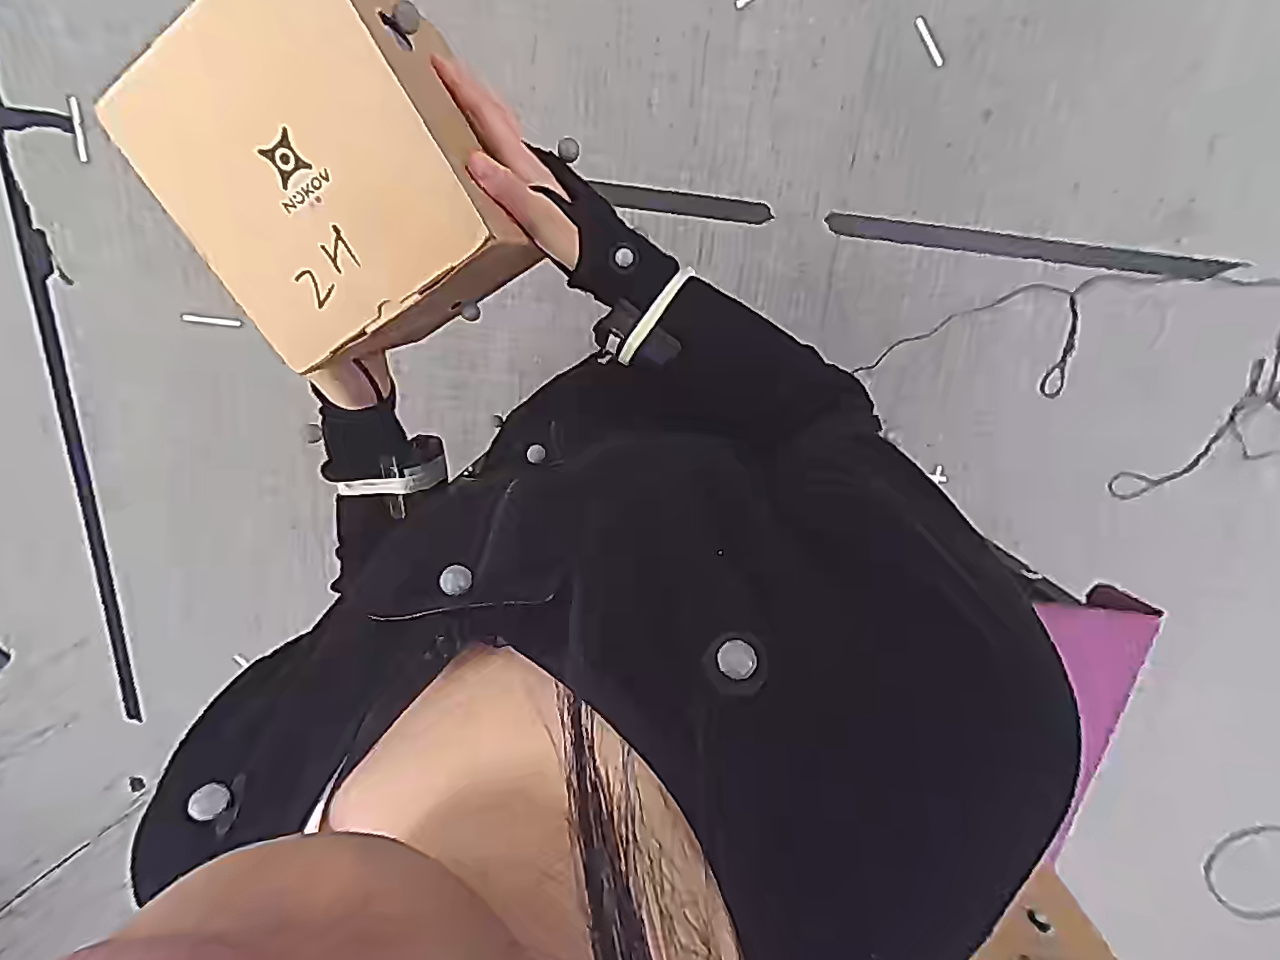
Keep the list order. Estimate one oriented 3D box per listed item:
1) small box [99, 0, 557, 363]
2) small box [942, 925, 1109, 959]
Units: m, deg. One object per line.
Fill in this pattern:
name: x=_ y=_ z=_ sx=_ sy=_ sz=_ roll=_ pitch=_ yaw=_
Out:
small box: x=-0.183 y=-0.206 z=0.377 sx=0.168 sy=0.176 sz=0.179 roll=-25 pitch=107 yaw=16
small box: x=0.385 y=0.566 z=0.497 sx=0.168 sy=0.176 sz=0.179 roll=7 pitch=107 yaw=-1
